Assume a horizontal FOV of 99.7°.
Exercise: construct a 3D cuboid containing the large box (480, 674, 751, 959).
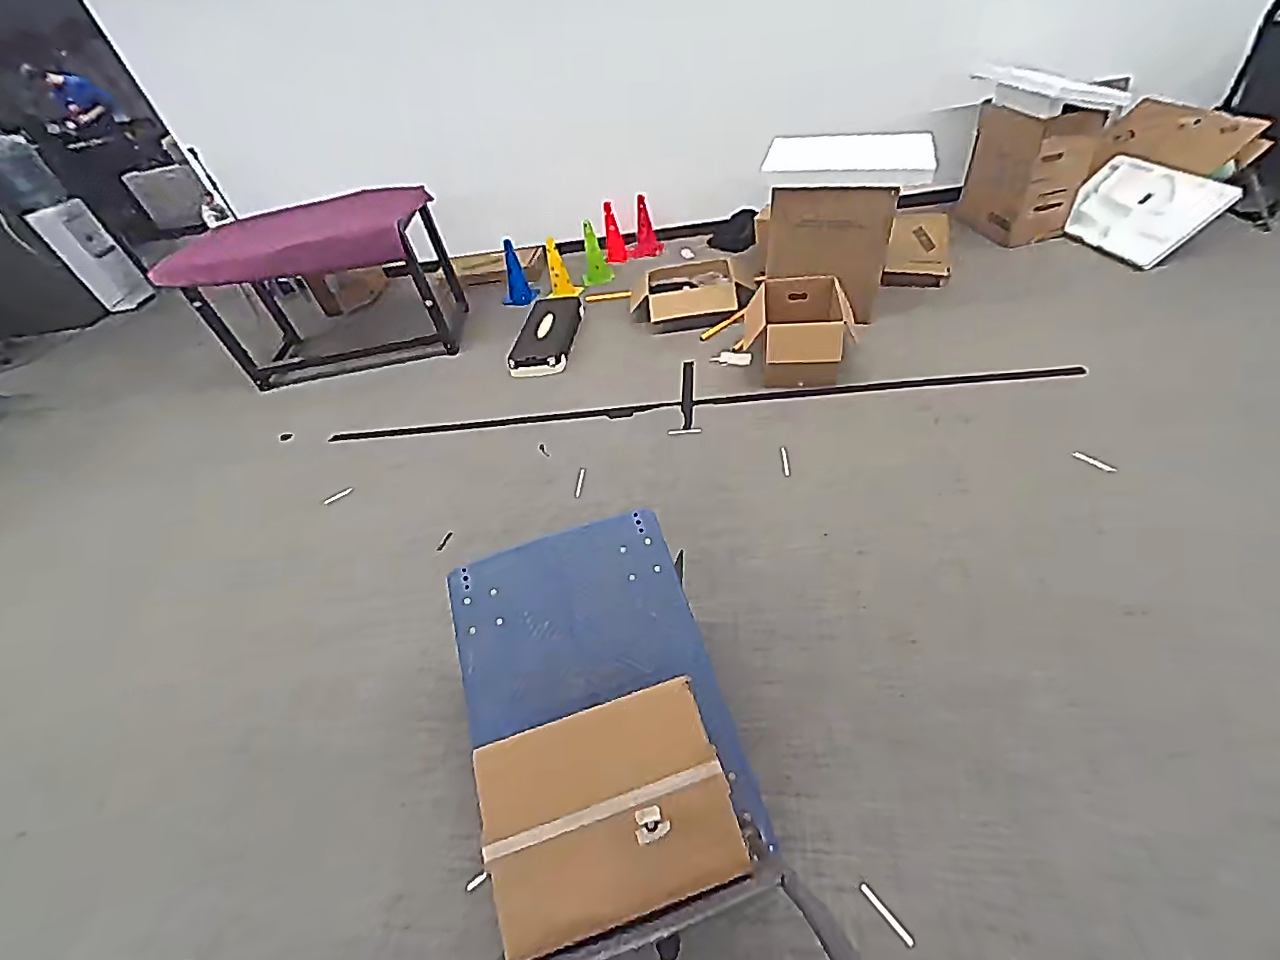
[{"bbox_3d":[-0.048,0.623,1.052,0.408,0.320,0.320,-18,63,-7],"label":"large box"}]
